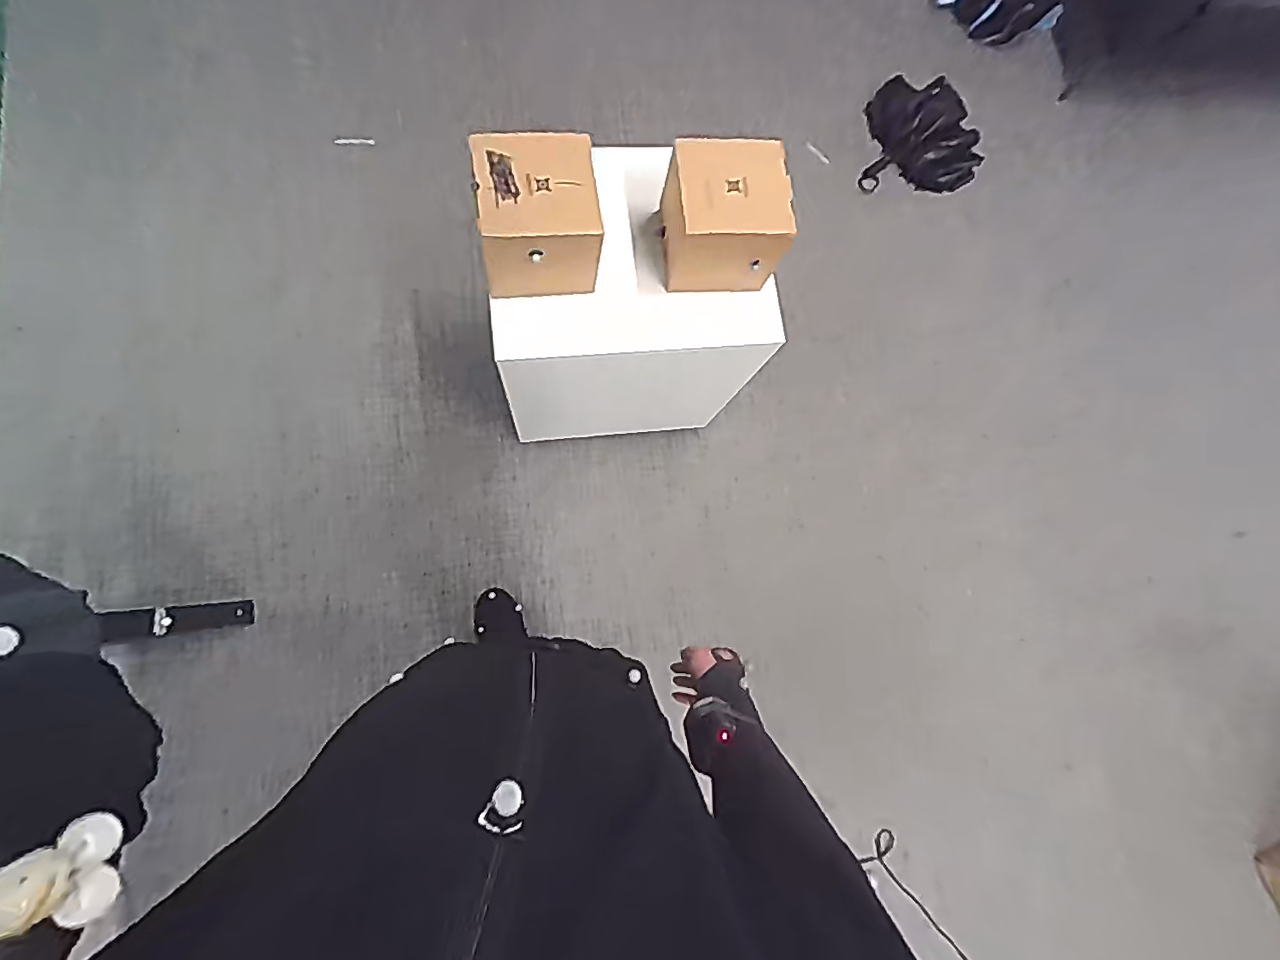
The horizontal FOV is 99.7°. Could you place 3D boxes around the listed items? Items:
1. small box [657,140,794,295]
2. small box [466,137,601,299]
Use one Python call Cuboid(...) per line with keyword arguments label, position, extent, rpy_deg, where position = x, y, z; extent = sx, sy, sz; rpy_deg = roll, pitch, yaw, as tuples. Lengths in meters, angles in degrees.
Cuboid(label="small box", position=(0.131, -0.422, 0.893), extent=(0.179, 0.176, 0.168), rpy_deg=(-4, 79, -7))
Cuboid(label="small box", position=(-0.163, -0.399, 0.844), extent=(0.179, 0.176, 0.168), rpy_deg=(-7, 81, -11))
